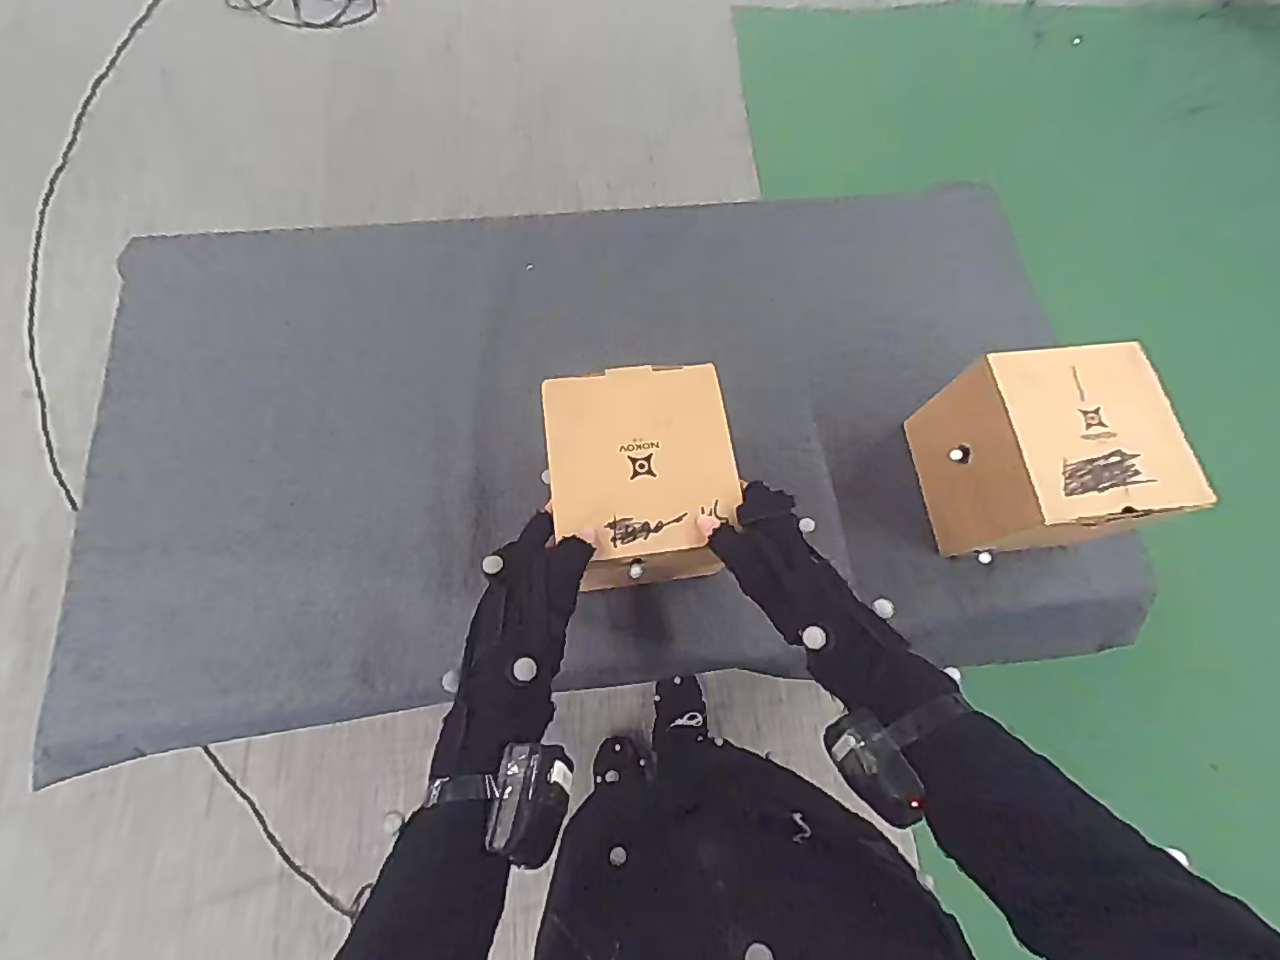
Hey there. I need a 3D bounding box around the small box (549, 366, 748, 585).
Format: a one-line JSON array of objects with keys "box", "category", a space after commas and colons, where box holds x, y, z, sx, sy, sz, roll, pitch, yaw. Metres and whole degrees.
[{"box": [0.000, 0.004, 0.563, 0.168, 0.176, 0.179, -6, 73, -4], "category": "small box"}]

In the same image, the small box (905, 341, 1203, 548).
[{"box": [0.425, -0.027, 0.592, 0.168, 0.176, 0.179, -5, 71, -4], "category": "small box"}]
